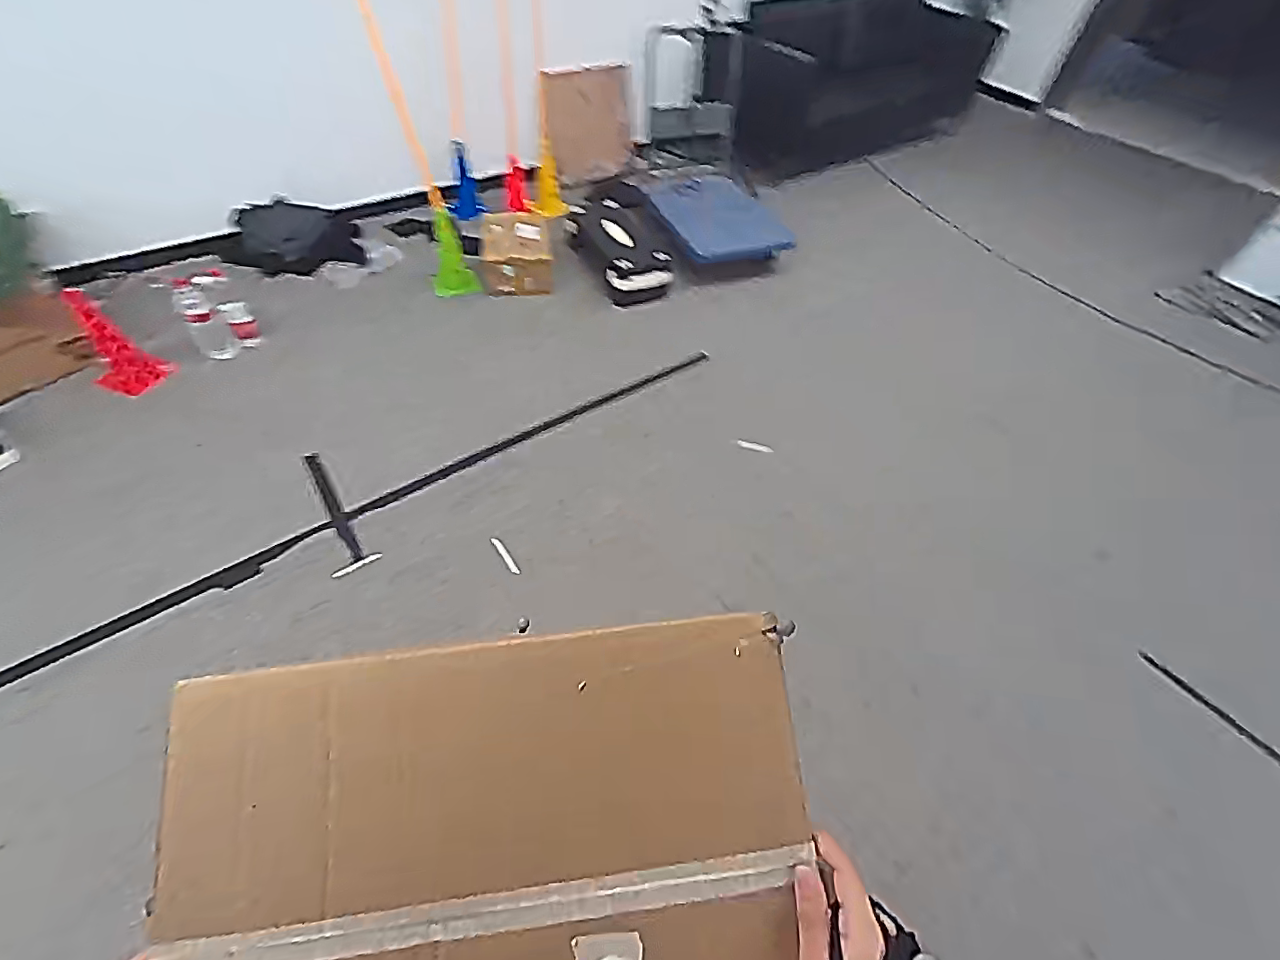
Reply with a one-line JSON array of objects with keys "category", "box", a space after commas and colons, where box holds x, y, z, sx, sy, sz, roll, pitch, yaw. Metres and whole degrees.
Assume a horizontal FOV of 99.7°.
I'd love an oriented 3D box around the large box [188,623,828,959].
[{"category": "large box", "box": [-0.090, 0.309, 0.490, 0.408, 0.320, 0.320, -5, 77, -4]}]
